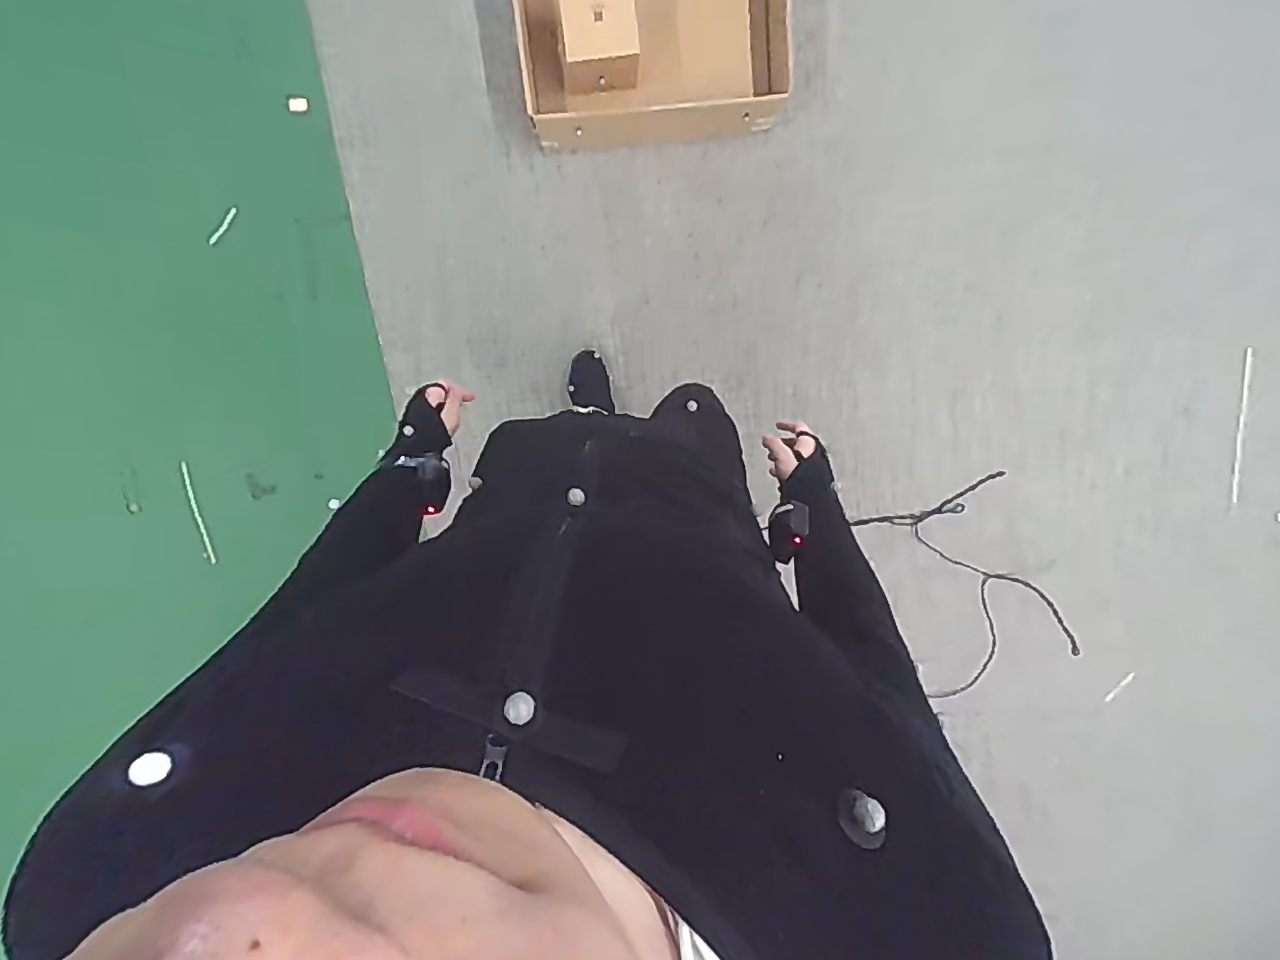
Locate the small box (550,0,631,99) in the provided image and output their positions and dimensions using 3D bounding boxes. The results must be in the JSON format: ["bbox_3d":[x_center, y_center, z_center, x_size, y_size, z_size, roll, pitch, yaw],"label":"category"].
[{"bbox_3d":[-0.111,-1.015,1.253,0.168,0.176,0.179,-7,103,-2],"label":"small box"}]
